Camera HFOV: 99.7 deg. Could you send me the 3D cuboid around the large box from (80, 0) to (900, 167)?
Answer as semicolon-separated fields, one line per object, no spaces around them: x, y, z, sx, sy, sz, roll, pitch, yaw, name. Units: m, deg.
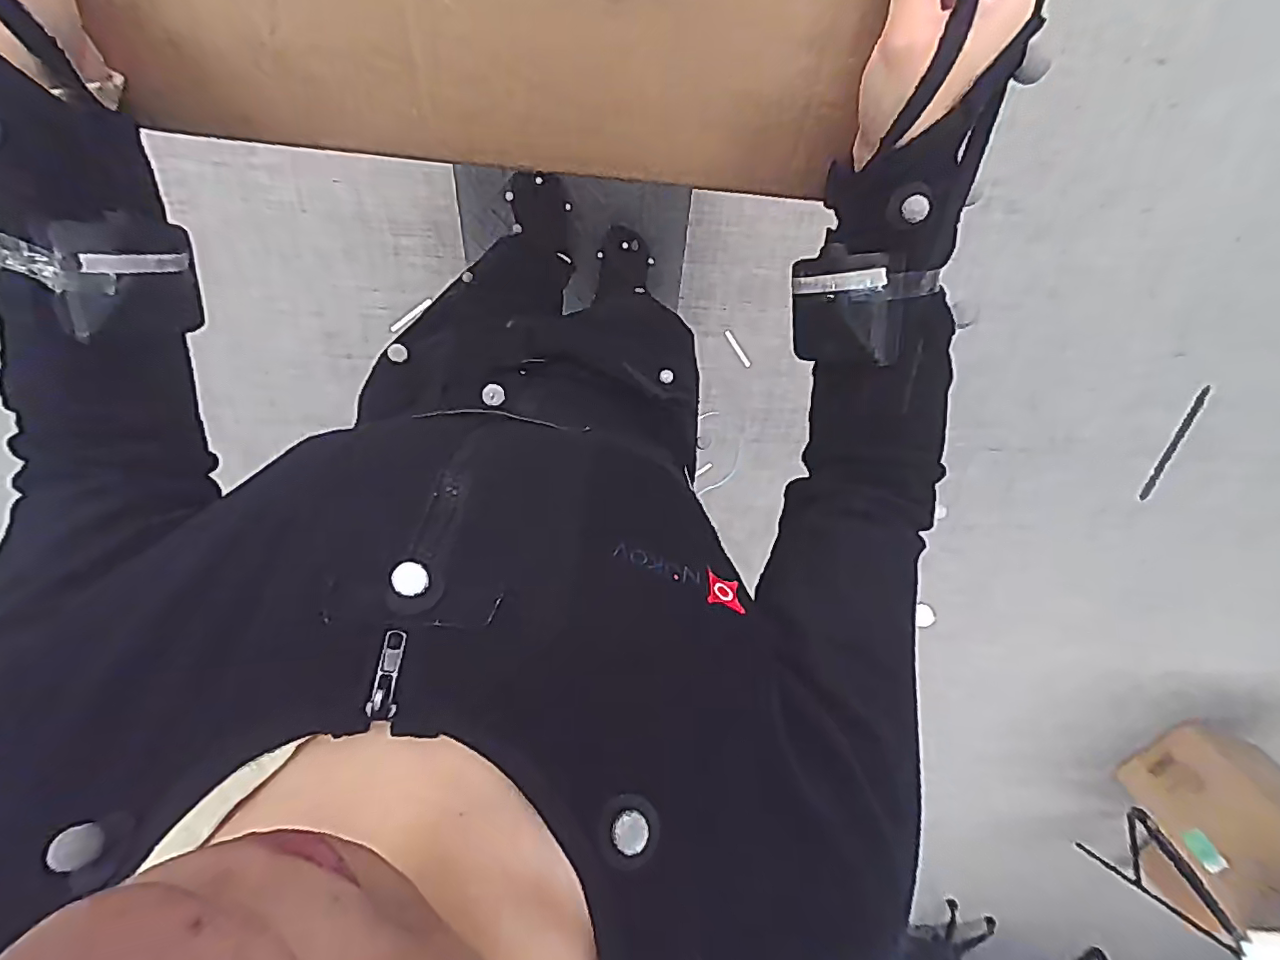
-0.065;-0.406;0.277;0.408;0.320;0.320;3;145;-5;large box
